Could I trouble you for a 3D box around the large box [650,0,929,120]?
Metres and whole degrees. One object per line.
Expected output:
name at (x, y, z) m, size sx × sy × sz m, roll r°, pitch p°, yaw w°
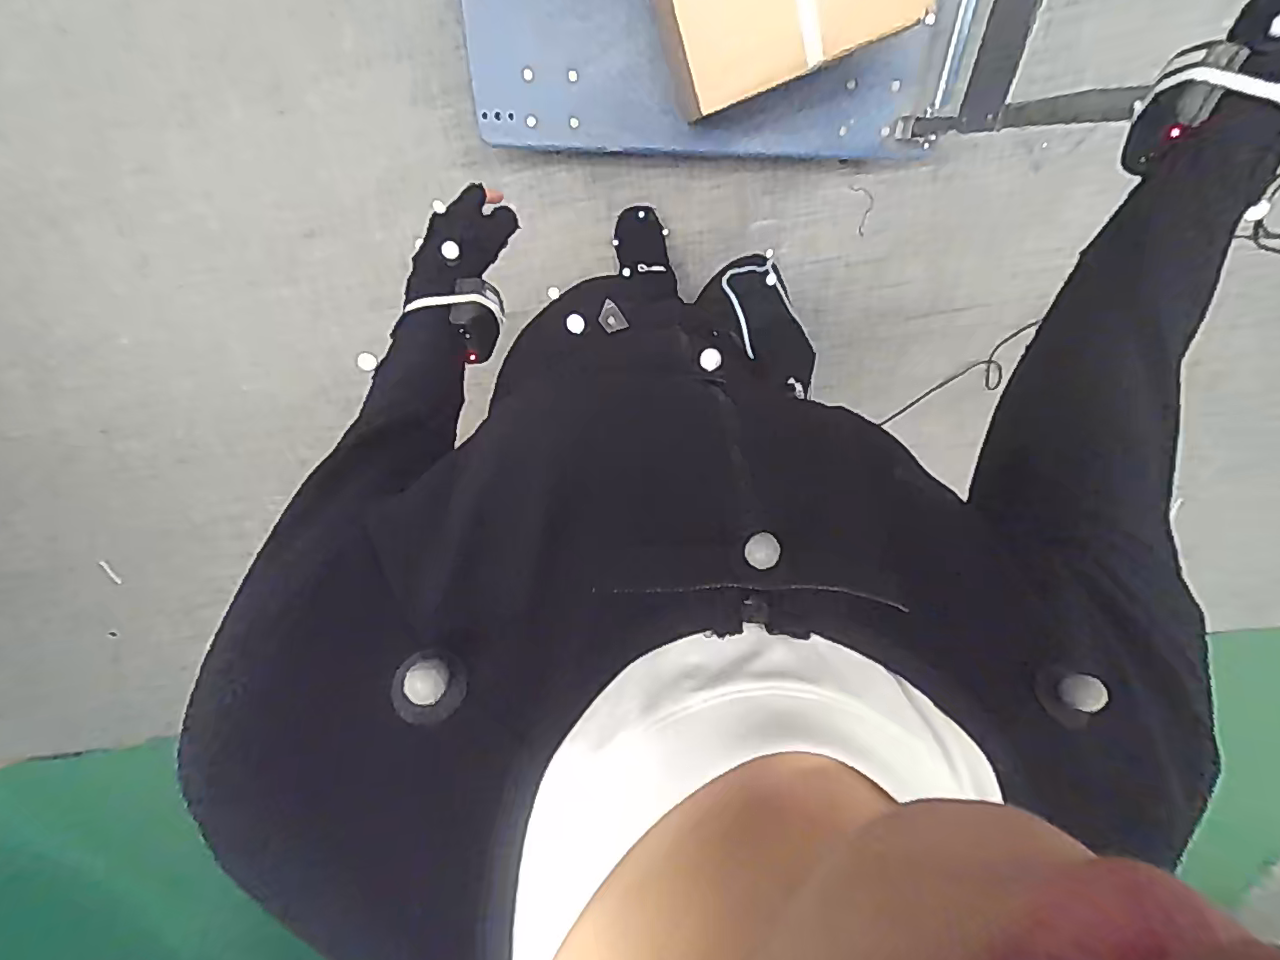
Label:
large box at (0.156, -0.792, 0.754) m, size 0.320 × 0.320 × 0.408 m, roll -18°, pitch 120°, yaw 11°
